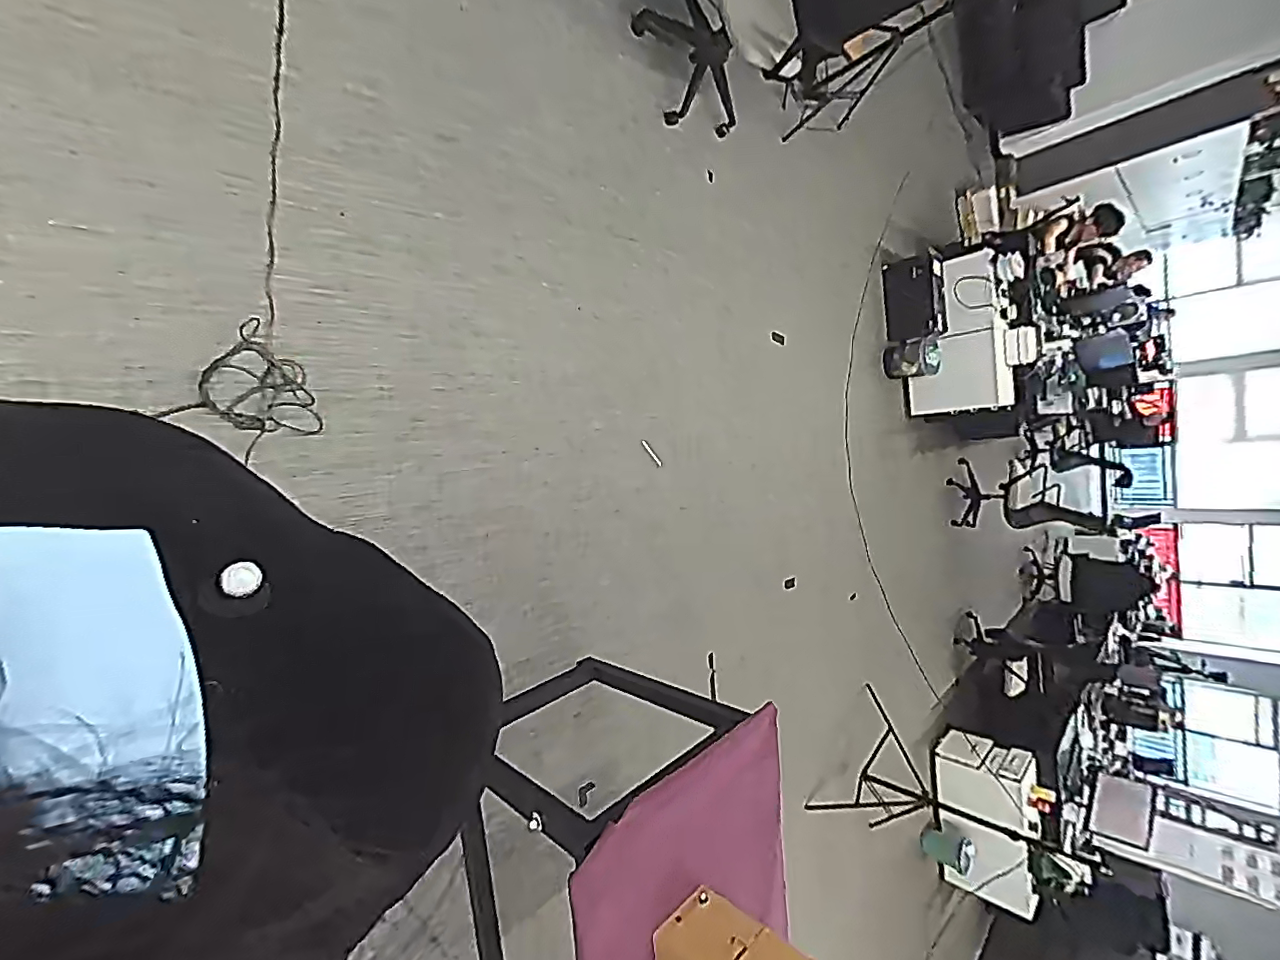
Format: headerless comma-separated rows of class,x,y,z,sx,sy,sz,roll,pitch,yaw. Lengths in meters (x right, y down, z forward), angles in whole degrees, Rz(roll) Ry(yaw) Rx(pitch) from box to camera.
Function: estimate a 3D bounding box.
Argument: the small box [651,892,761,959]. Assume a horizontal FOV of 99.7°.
small box,0.136,1.012,1.125,0.168,0.176,0.179,-9,96,-43
